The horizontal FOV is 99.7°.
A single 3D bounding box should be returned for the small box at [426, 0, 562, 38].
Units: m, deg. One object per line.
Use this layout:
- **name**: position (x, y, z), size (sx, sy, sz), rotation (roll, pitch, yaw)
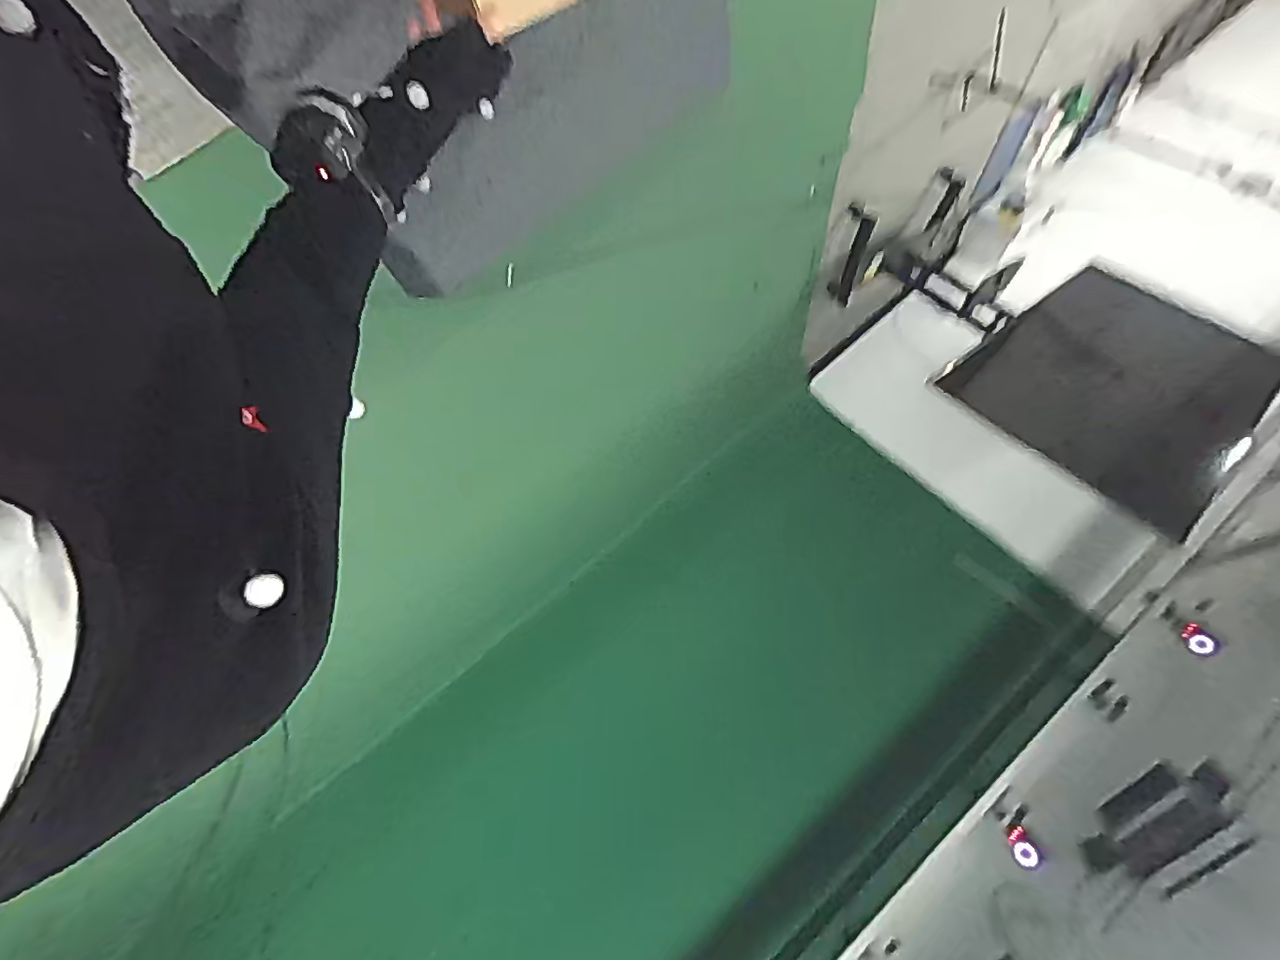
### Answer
- **small box**: position (-0.139, -0.533, 0.466), size (0.179, 0.176, 0.168), rotation (-39, 155, -13)
